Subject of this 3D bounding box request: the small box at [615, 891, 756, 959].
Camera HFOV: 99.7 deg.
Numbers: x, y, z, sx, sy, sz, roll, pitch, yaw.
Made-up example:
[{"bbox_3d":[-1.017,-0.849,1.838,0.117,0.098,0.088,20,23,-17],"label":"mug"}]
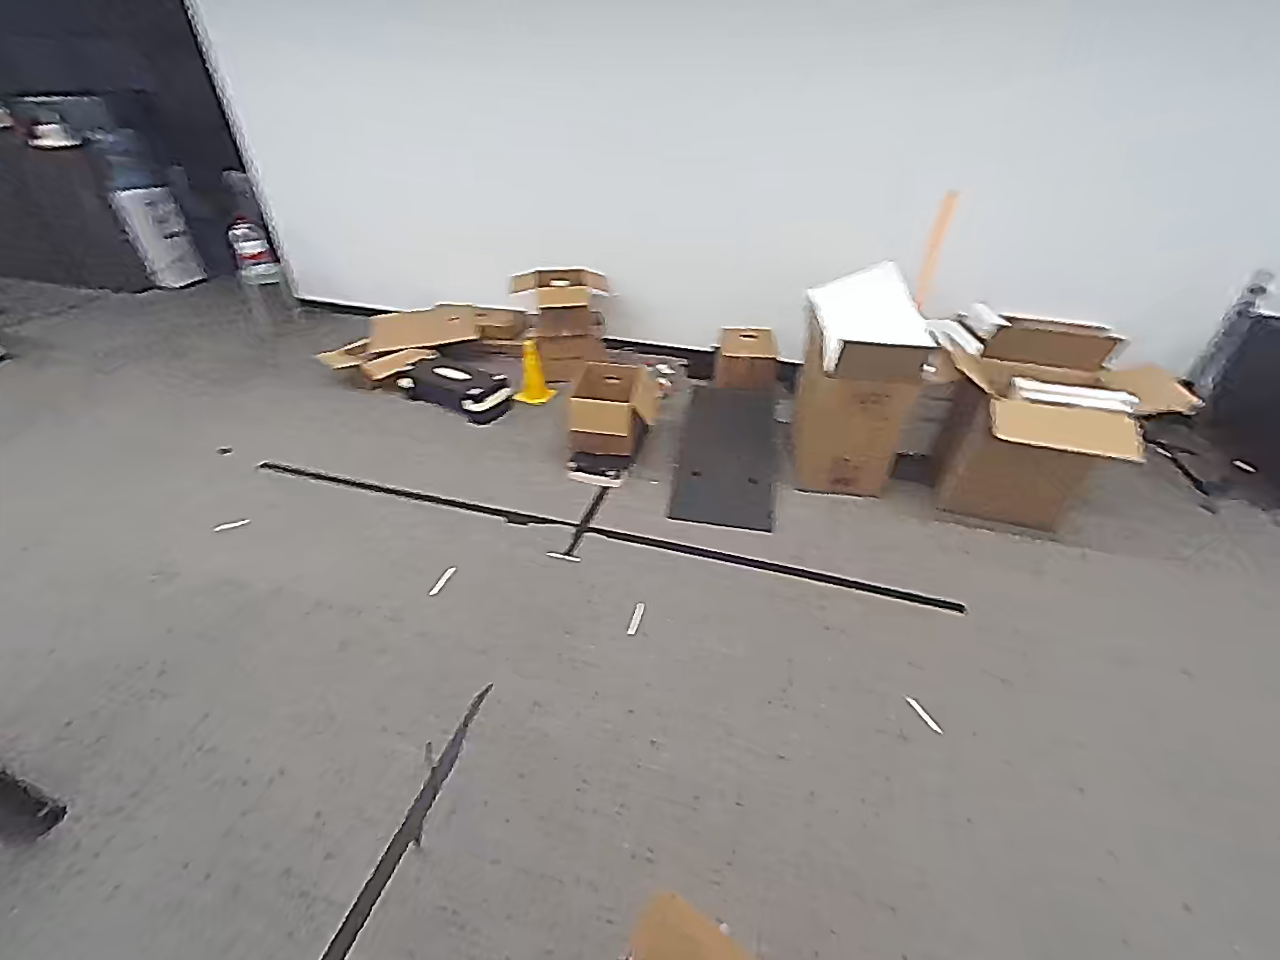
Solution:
[{"bbox_3d":[0.046,0.592,0.588,0.168,0.176,0.179,31,55,14],"label":"small box"}]
